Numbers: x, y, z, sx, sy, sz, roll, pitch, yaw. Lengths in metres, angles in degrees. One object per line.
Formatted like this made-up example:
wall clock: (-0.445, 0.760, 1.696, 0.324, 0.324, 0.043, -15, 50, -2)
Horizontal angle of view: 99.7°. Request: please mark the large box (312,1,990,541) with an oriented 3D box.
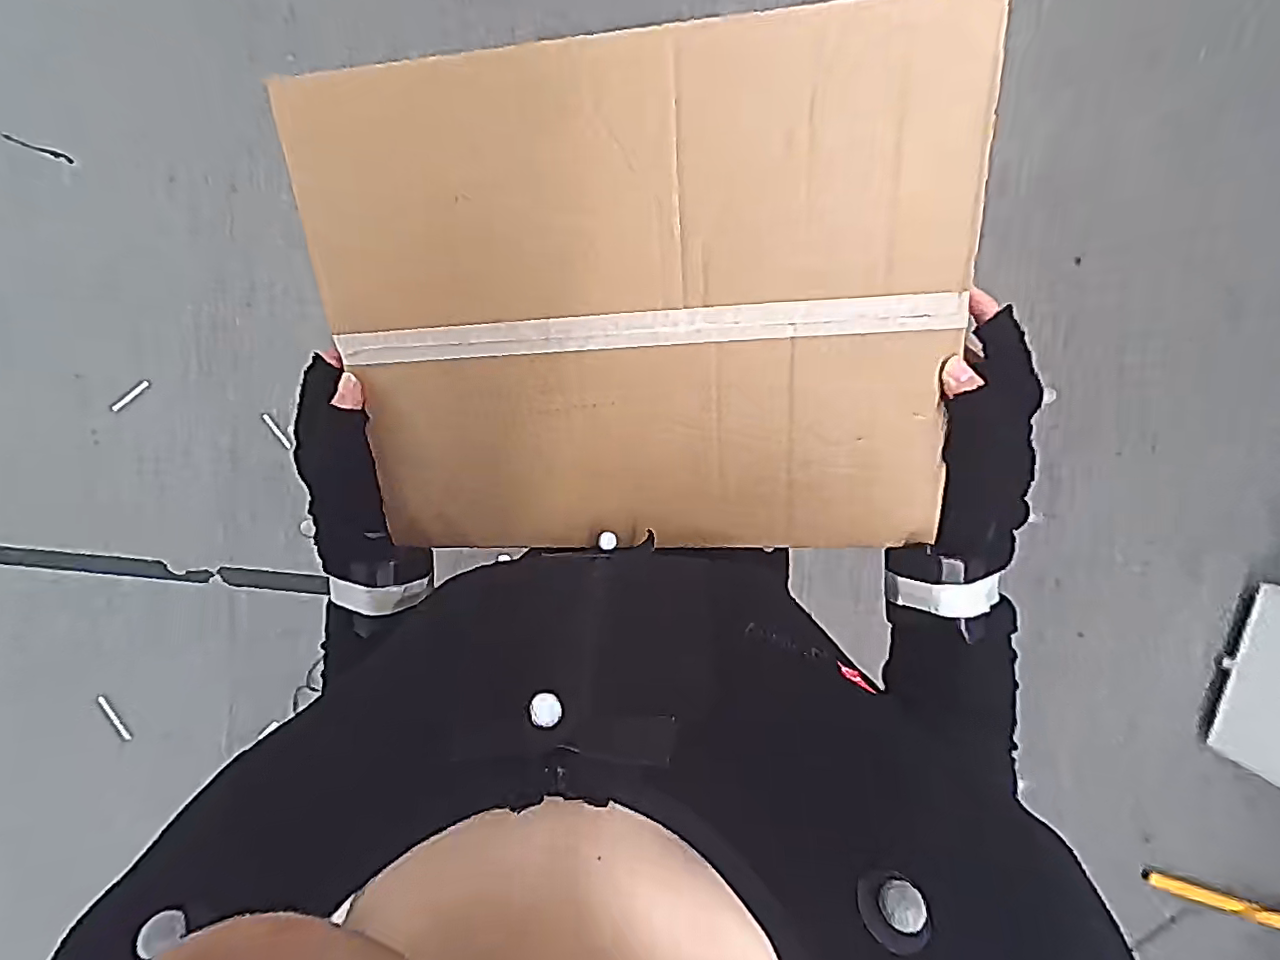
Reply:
large box: (0.017, -0.154, 0.499, 0.408, 0.320, 0.320, -2, 112, 8)
